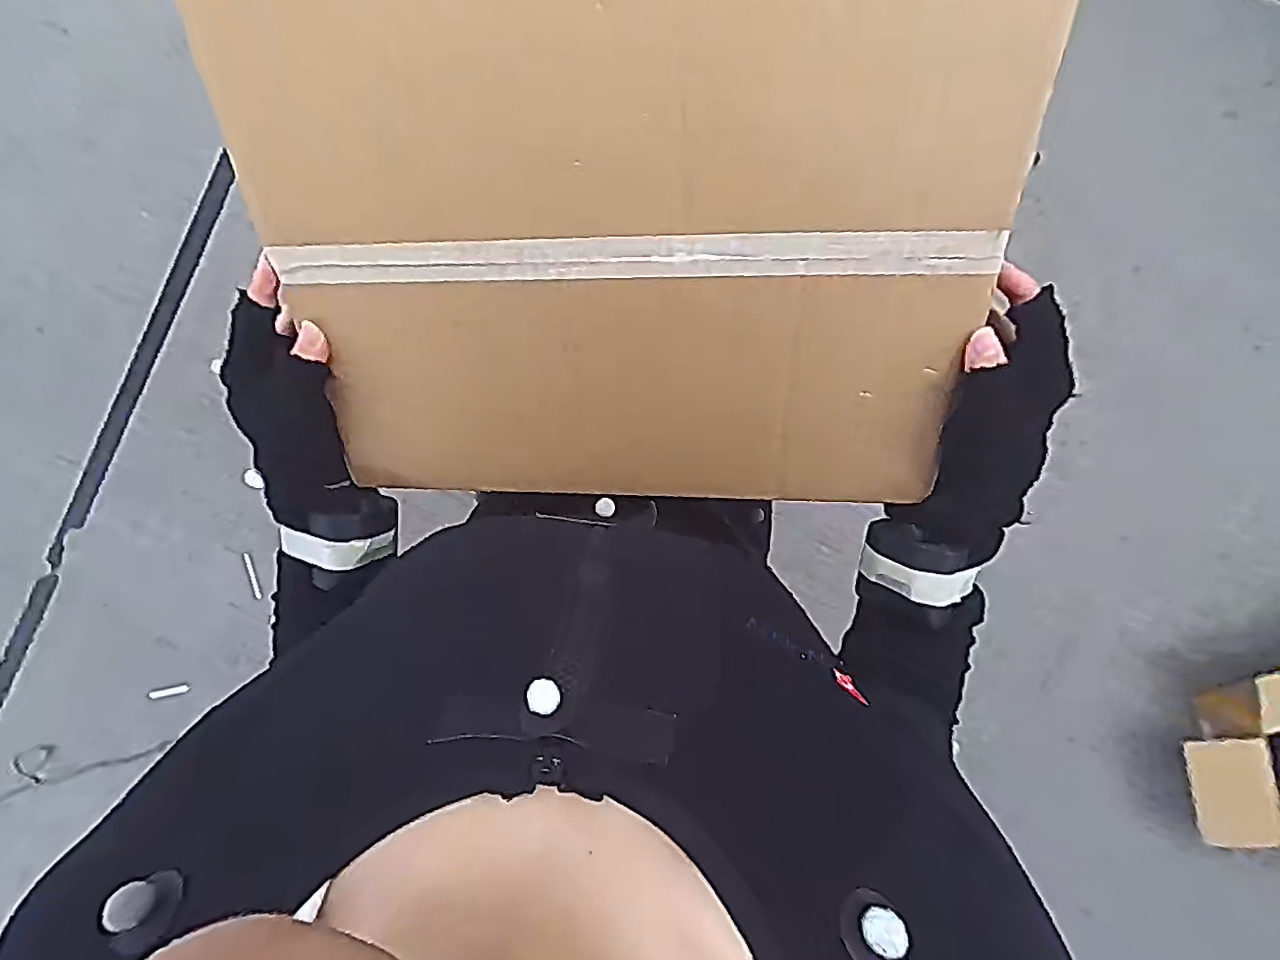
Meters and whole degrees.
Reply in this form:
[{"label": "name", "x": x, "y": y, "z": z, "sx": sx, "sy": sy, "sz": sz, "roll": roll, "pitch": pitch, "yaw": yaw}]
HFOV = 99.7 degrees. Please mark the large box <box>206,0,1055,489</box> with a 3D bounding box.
[{"label": "large box", "x": 0.000, "y": -0.204, "z": 0.435, "sx": 0.408, "sy": 0.320, "sz": 0.320, "roll": 2, "pitch": 122, "yaw": 5}]
